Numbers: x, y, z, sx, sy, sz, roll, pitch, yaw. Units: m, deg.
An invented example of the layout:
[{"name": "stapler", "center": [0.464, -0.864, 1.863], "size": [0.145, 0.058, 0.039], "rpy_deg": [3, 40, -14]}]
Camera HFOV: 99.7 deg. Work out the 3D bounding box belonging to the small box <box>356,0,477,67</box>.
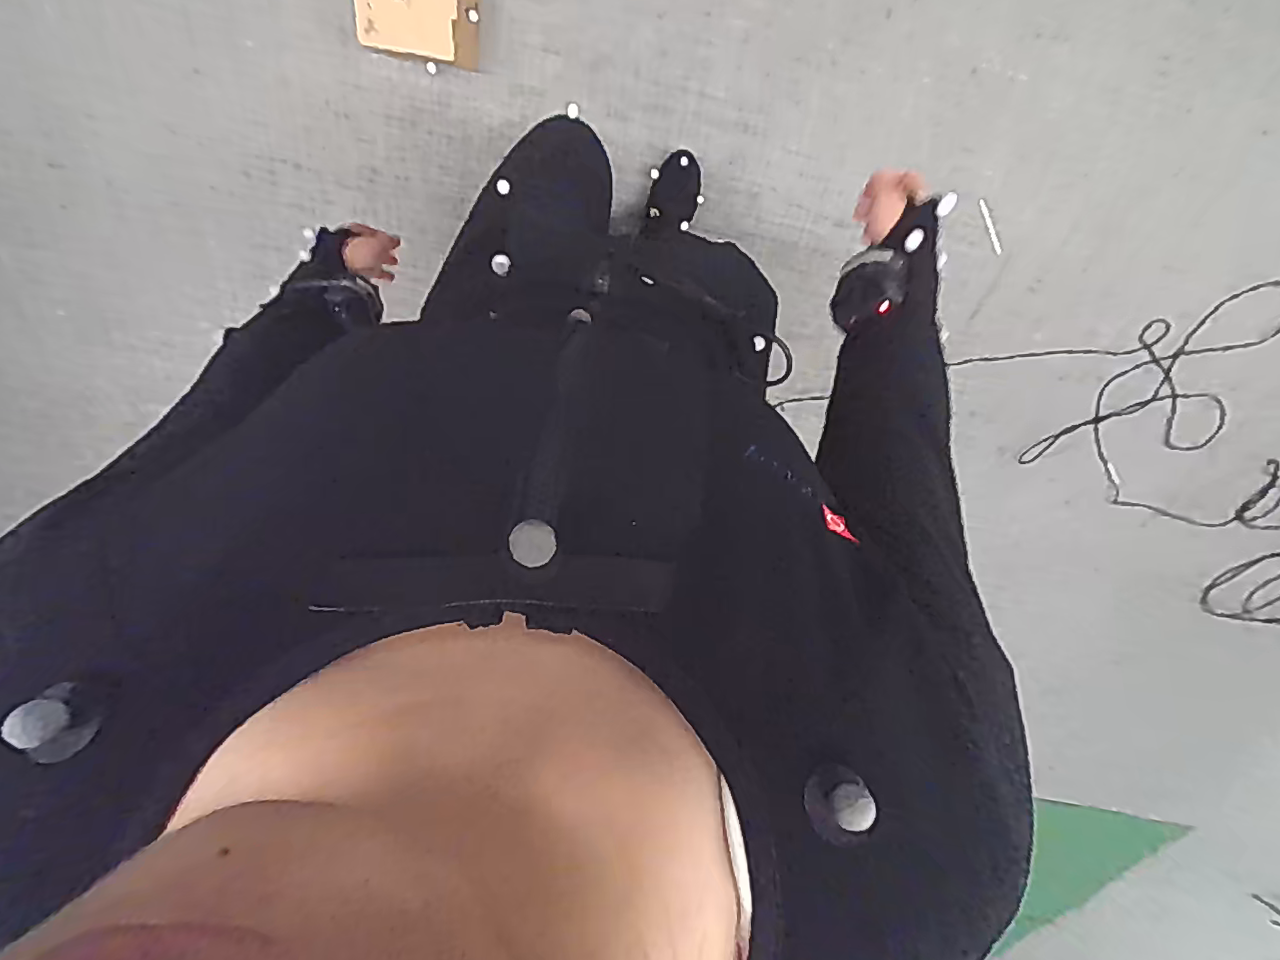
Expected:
[{"name": "small box", "center": [-0.410, -0.895, 1.012], "size": [0.179, 0.176, 0.168], "rpy_deg": [8, 122, -4]}]
